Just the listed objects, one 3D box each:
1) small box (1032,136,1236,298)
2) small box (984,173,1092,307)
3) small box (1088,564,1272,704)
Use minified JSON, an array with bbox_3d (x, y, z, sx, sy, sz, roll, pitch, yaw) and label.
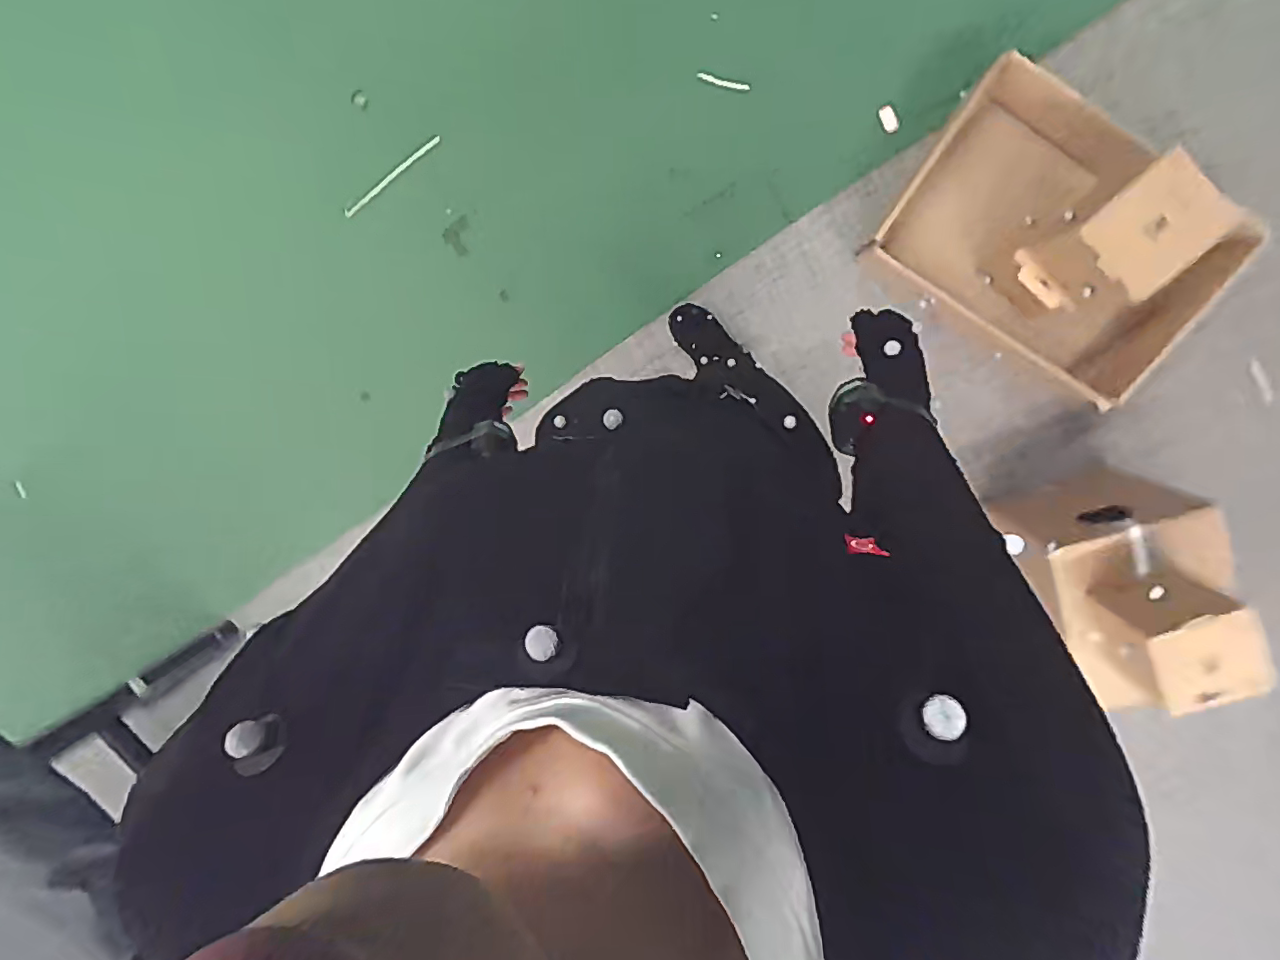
[{"bbox_3d":[0.839,-0.442,0.947,0.168,0.176,0.179,44,104,-6],"label":"small box"},{"bbox_3d":[0.848,-0.476,1.105,0.168,0.176,0.179,41,105,-3],"label":"small box"},{"bbox_3d":[1.003,0.278,1.021,0.168,0.176,0.179,-24,101,14],"label":"small box"}]
